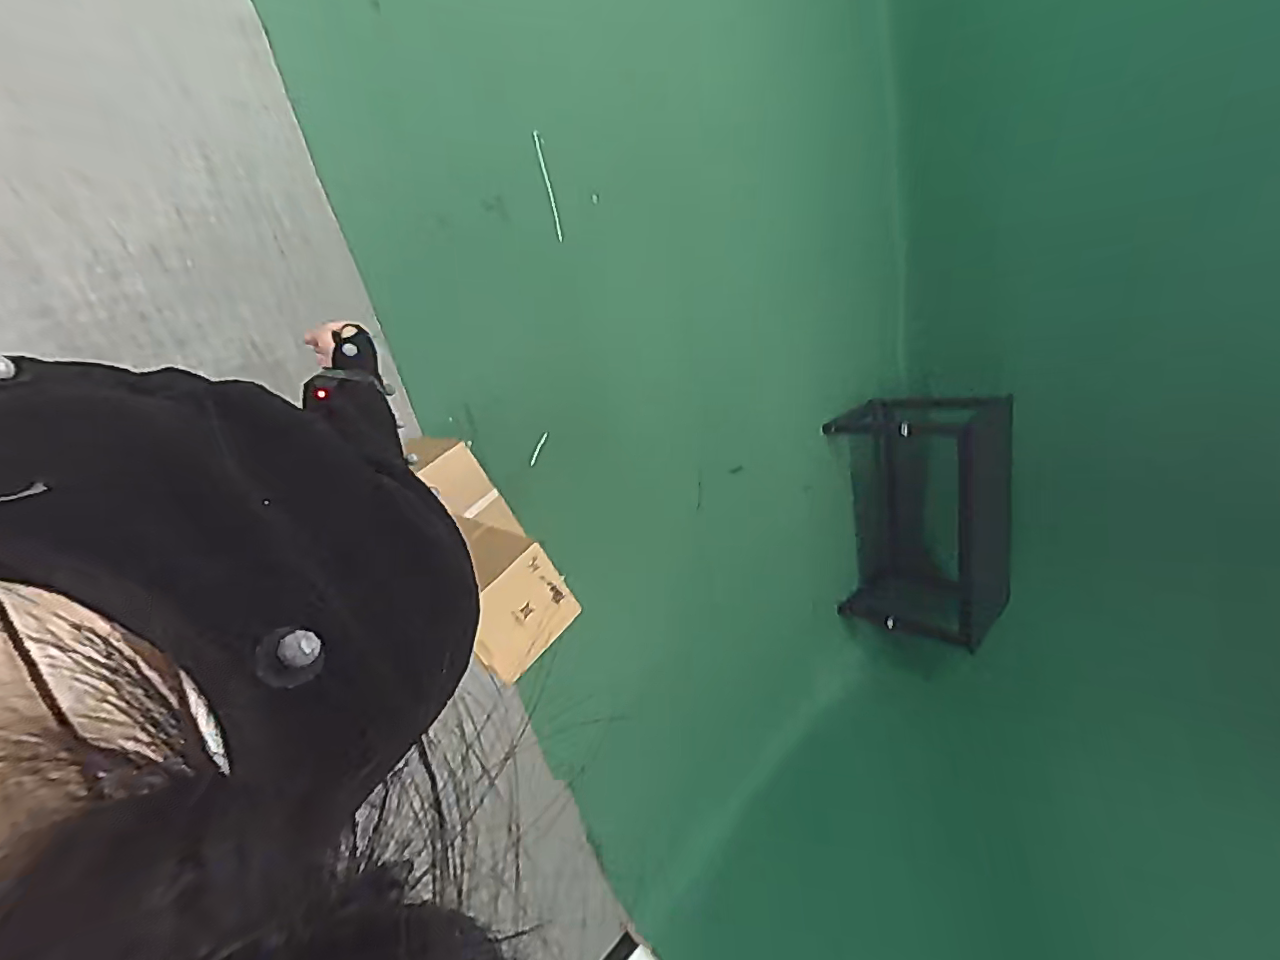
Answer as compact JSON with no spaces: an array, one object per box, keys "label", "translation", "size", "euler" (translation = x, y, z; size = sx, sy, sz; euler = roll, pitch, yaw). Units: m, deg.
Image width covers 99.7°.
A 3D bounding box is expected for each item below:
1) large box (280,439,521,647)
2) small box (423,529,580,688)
[{"label":"large box","translation":[-0.593,0.133,1.362],"size":[0.408,0.320,0.320],"euler":[-44,123,-31]},{"label":"small box","translation":[-0.241,0.206,0.914],"size":[0.179,0.176,0.168],"euler":[-42,121,-29]}]
